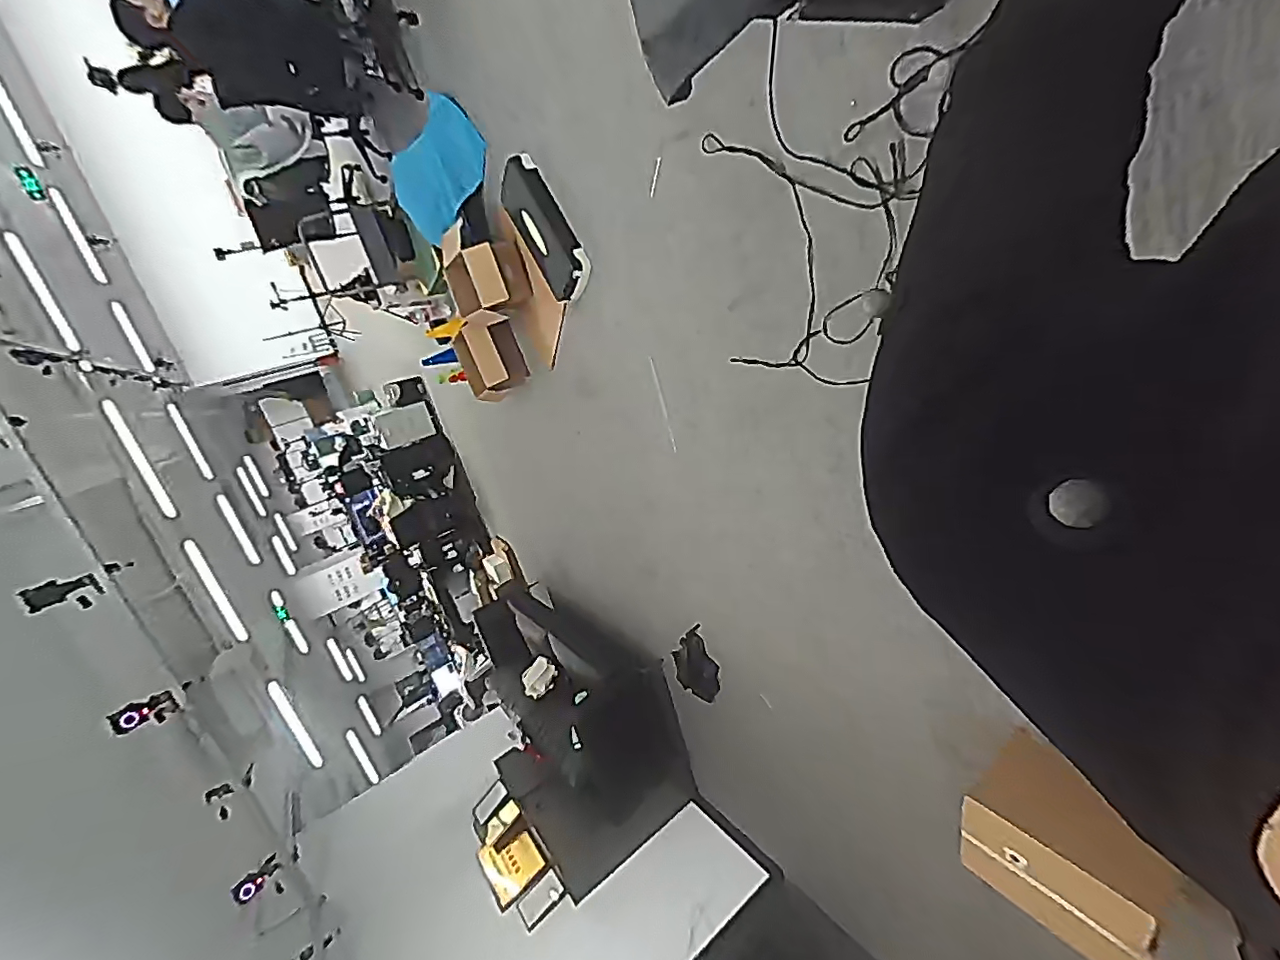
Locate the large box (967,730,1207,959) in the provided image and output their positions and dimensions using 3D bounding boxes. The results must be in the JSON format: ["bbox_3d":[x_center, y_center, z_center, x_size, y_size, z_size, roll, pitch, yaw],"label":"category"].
[{"bbox_3d":[1.164,0.971,1.440,0.408,0.320,0.320,23,131,53],"label":"large box"}]
